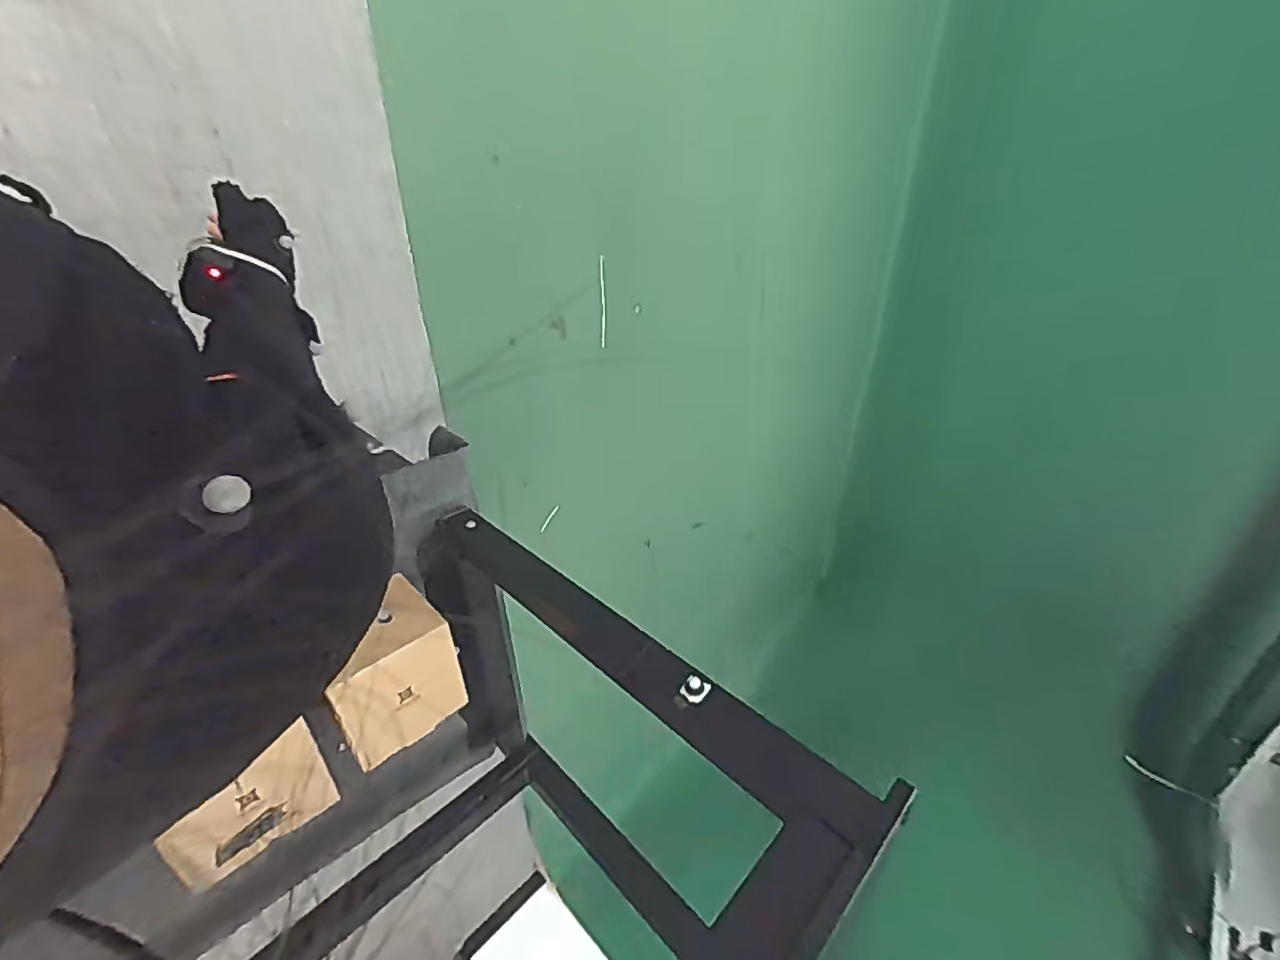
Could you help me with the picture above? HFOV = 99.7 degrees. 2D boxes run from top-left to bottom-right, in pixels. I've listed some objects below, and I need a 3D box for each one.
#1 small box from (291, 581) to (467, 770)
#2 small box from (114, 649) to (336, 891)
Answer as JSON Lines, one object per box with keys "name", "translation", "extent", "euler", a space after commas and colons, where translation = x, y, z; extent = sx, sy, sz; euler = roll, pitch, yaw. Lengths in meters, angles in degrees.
{"name": "small box", "translation": [-0.387, 0.275, 0.807], "extent": [0.168, 0.176, 0.179], "euler": [-27, 129, -37]}
{"name": "small box", "translation": [-0.525, 0.355, 0.693], "extent": [0.168, 0.176, 0.179], "euler": [-27, 128, -39]}
